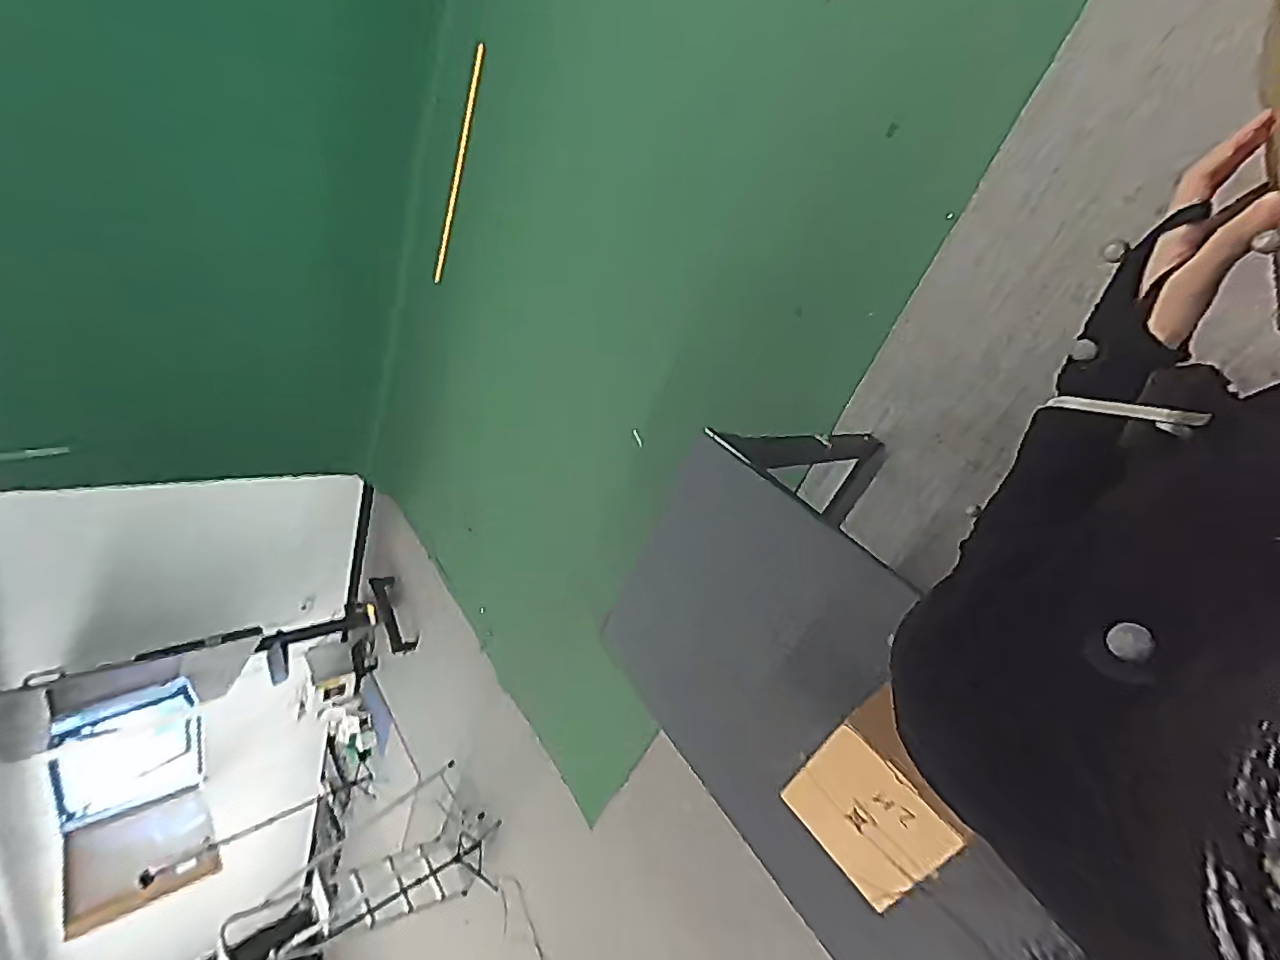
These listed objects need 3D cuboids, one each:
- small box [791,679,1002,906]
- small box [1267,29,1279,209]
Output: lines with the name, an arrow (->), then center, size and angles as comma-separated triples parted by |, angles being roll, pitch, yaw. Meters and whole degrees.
small box -> 0.346, 0.406, 0.728 | 0.168, 0.176, 0.179 | 42, 123, 33
small box -> 0.429, -0.190, 0.252 | 0.168, 0.176, 0.179 | -6, 93, 47
